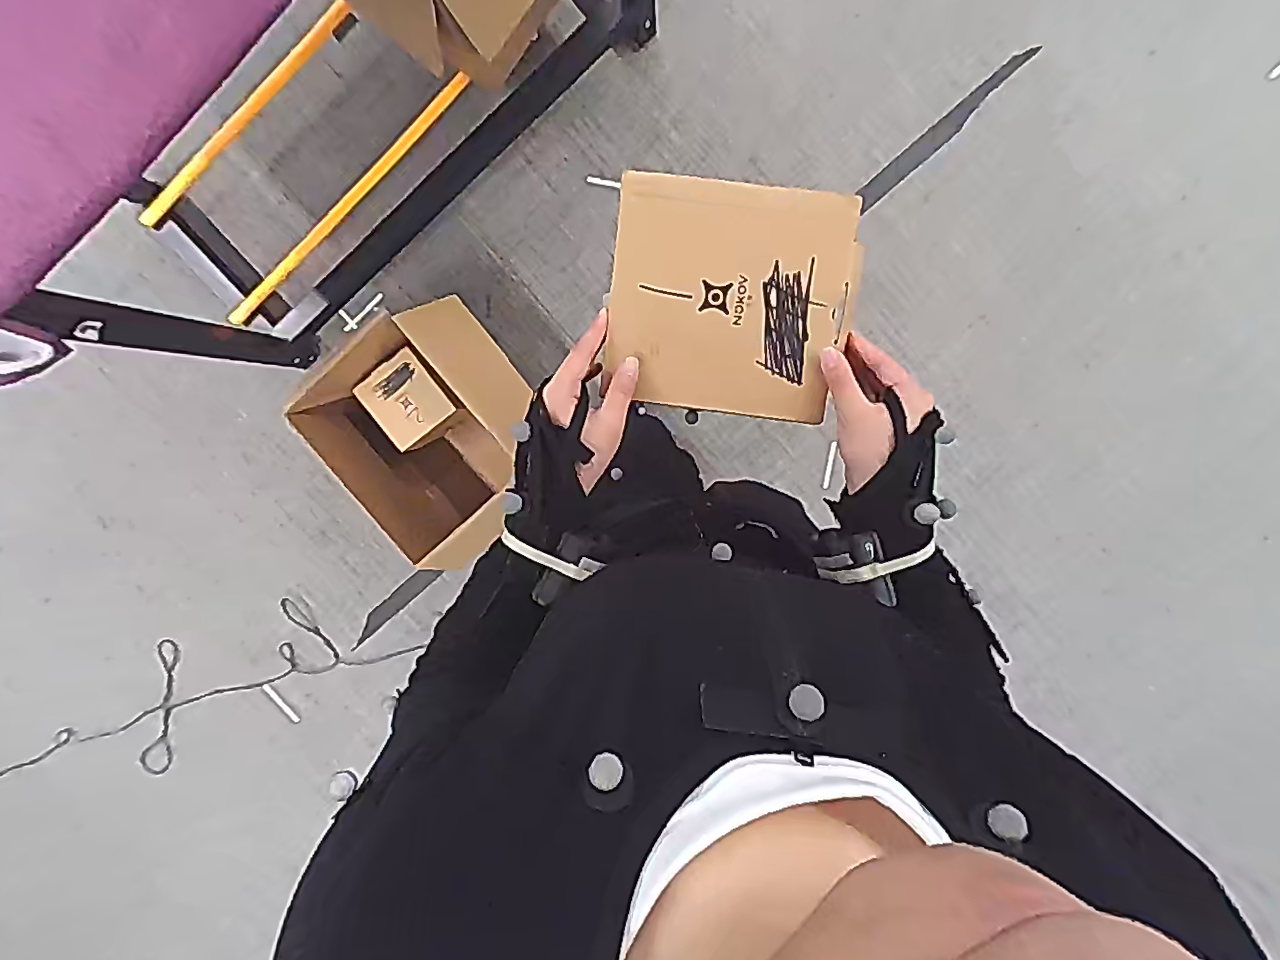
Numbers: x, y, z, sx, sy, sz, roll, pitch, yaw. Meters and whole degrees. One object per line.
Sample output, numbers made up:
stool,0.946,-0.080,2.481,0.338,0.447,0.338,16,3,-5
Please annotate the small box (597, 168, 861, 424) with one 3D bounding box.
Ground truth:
small box,0.066,-0.148,0.480,0.179,0.176,0.168,8,99,1
